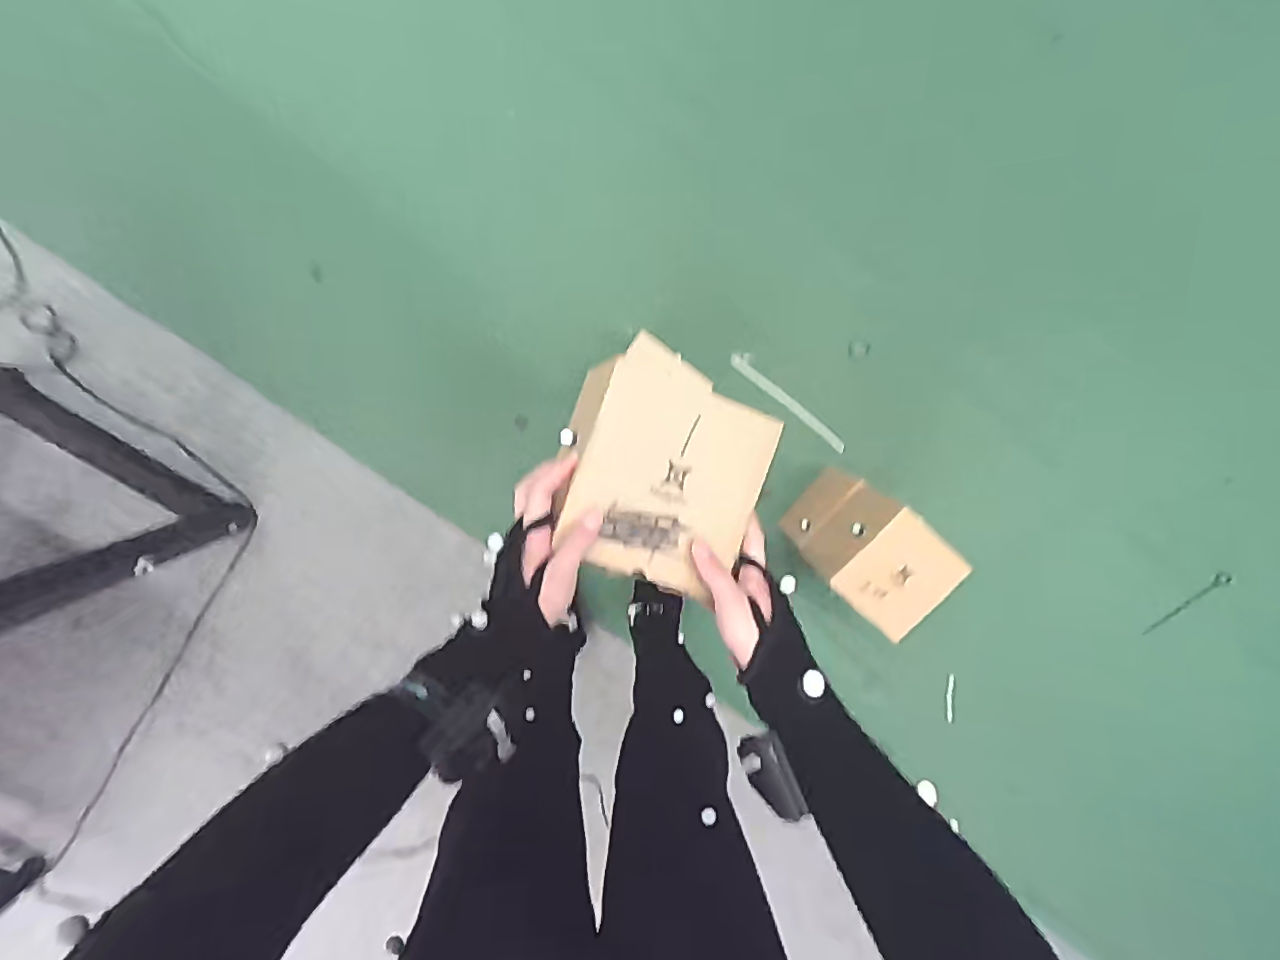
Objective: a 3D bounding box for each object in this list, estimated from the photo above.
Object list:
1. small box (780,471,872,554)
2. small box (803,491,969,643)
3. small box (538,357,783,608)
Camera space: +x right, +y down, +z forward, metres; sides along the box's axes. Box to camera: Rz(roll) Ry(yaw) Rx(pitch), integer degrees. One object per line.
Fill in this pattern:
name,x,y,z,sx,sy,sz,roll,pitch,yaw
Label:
small box,0.418,0.104,1.118,0.168,0.176,0.179,39,99,-8
small box,0.420,0.143,0.958,0.168,0.176,0.179,41,99,-9
small box,0.005,-0.001,0.534,0.168,0.176,0.179,20,90,-17
